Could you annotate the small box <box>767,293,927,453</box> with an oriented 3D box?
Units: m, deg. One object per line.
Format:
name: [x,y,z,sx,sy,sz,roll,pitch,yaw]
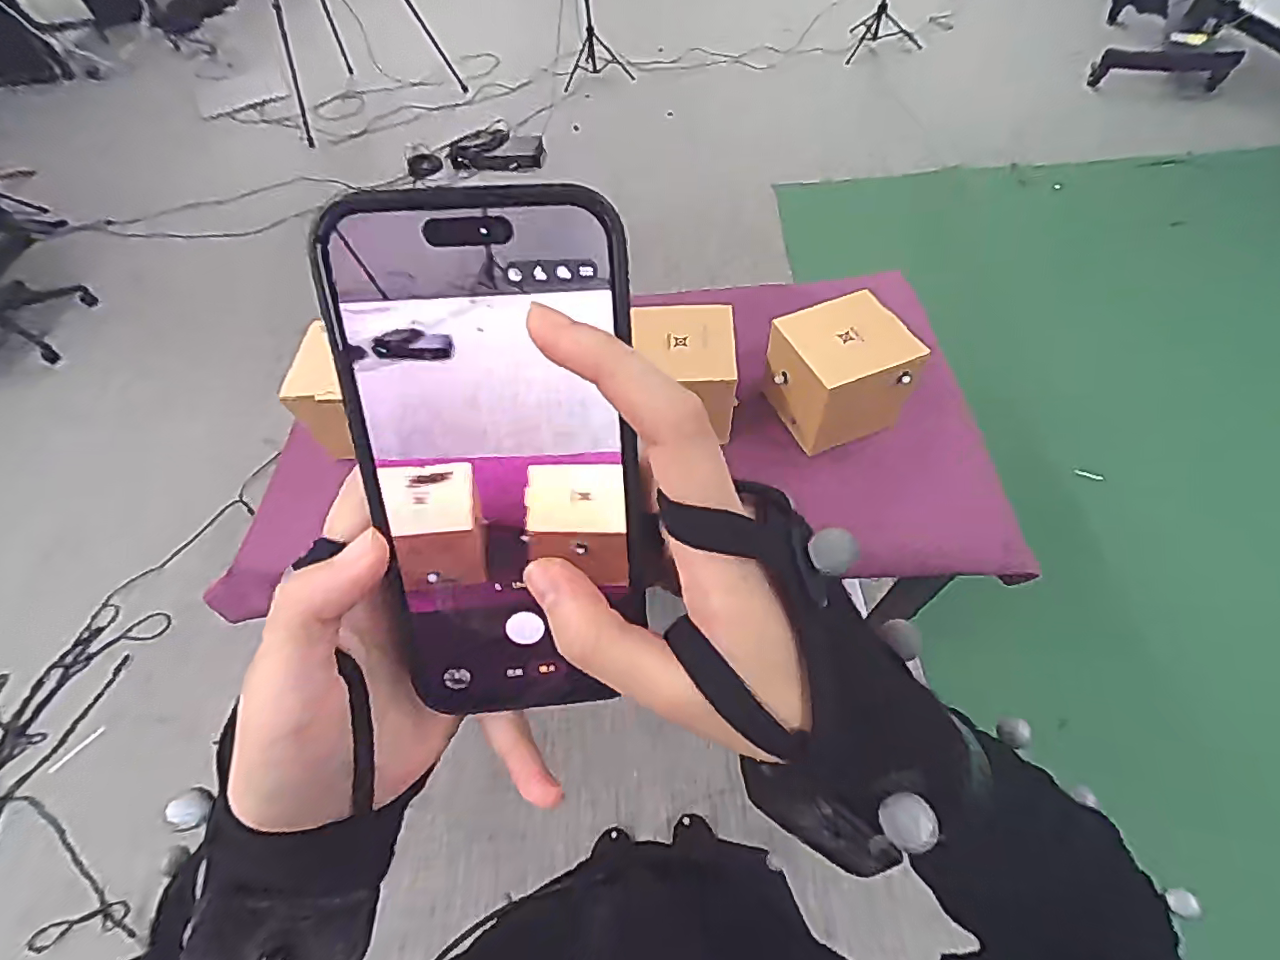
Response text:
small box: [0.322,-0.170,0.890,0.179,0.176,0.168,-20,57,-9]

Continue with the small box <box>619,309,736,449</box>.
small box: [0.064,-0.165,0.908,0.179,0.176,0.168,0,57,4]

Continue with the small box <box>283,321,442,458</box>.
small box: [-0.463,-0.149,0.938,0.168,0.176,0.179,-2,57,3]

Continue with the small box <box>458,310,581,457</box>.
small box: [-0.195,-0.162,0.925,0.168,0.176,0.179,-6,57,1]
